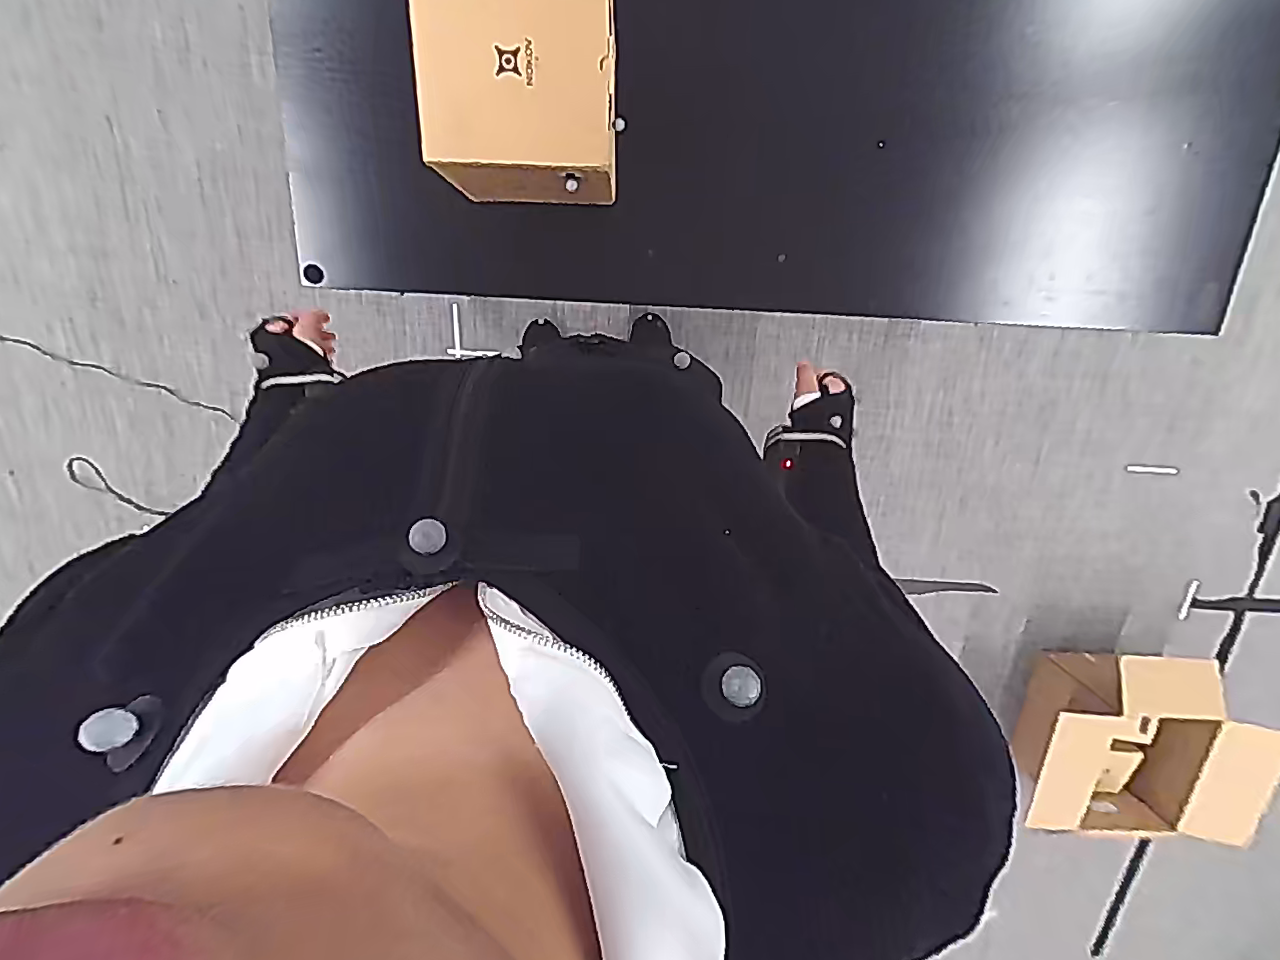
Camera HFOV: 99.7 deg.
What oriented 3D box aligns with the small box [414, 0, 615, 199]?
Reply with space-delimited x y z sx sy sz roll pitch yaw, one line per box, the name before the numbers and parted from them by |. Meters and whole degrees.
small box | -0.115 -0.401 0.562 0.179 0.176 0.168 0 107 -3
